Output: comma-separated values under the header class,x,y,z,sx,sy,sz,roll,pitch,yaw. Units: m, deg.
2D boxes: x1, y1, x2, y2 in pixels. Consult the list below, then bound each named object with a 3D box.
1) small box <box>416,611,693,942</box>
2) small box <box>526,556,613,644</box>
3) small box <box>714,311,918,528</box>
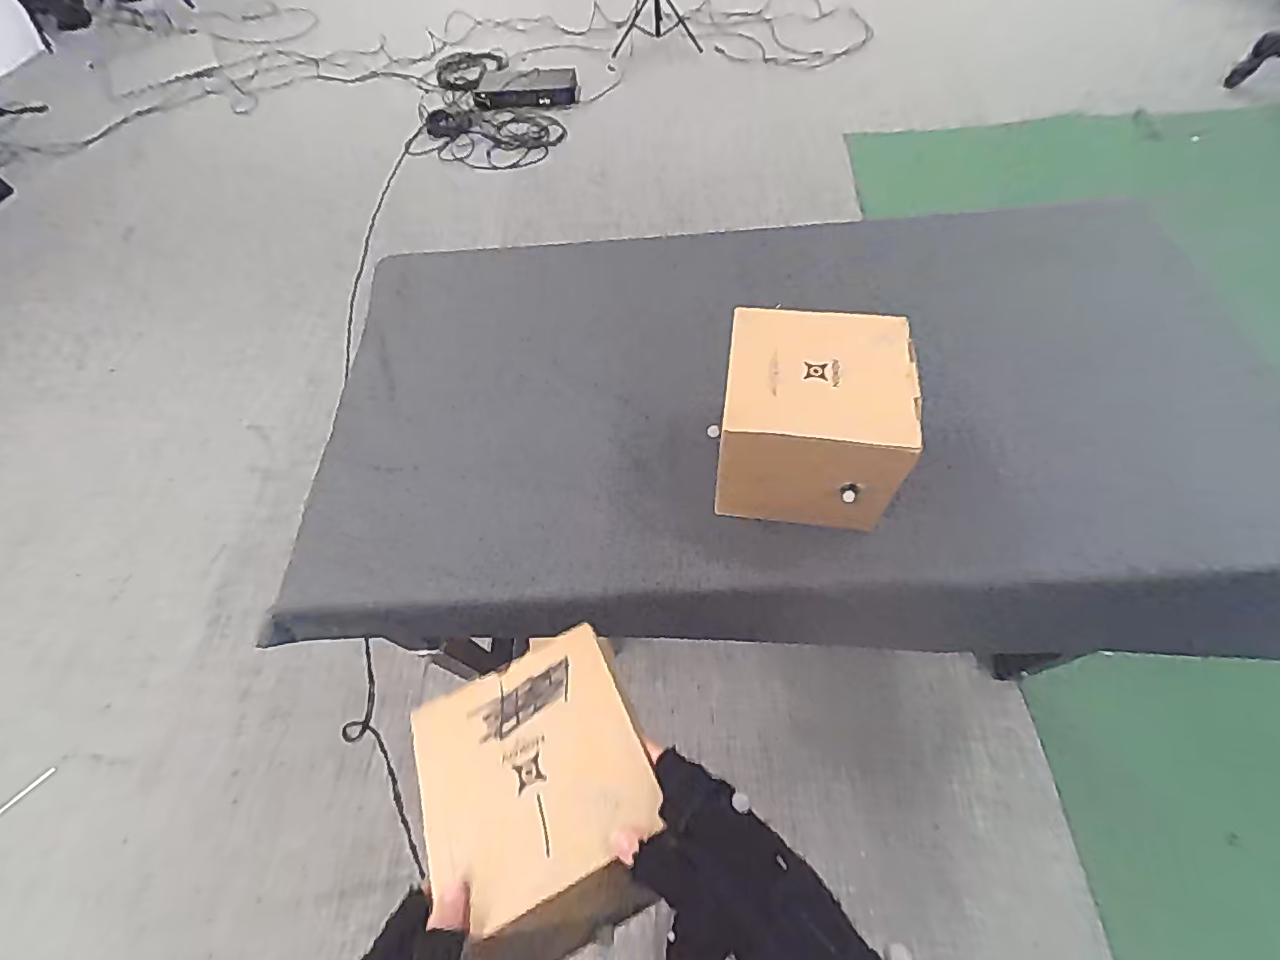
class,x,y,z,sx,sy,sz,roll,pitch,yaw
small box,-0.069,0.253,0.465,0.168,0.176,0.179,-24,47,-8
small box,-0.159,0.298,1.256,0.168,0.176,0.179,-10,61,-2
small box,0.180,-0.060,0.595,0.179,0.176,0.168,6,60,9
